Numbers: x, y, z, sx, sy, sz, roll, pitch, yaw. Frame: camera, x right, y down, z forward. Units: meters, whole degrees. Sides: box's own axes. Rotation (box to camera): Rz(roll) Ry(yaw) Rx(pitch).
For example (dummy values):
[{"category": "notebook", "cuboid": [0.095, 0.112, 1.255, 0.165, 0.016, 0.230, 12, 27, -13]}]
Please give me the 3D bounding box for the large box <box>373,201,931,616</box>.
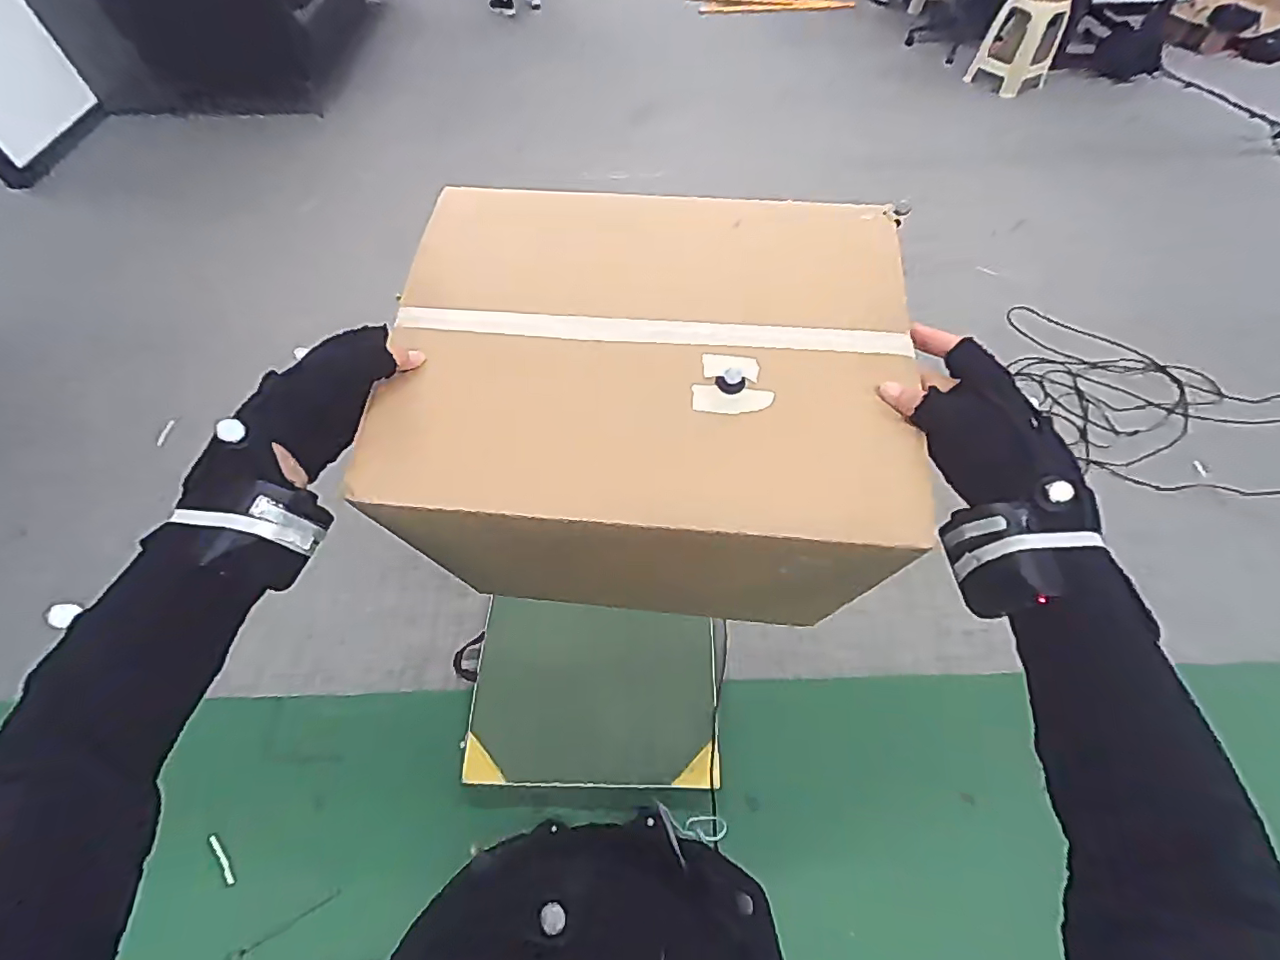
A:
[{"category": "large box", "cuboid": [0.016, -0.051, 0.574, 0.408, 0.320, 0.320, 5, 67, 3]}]
